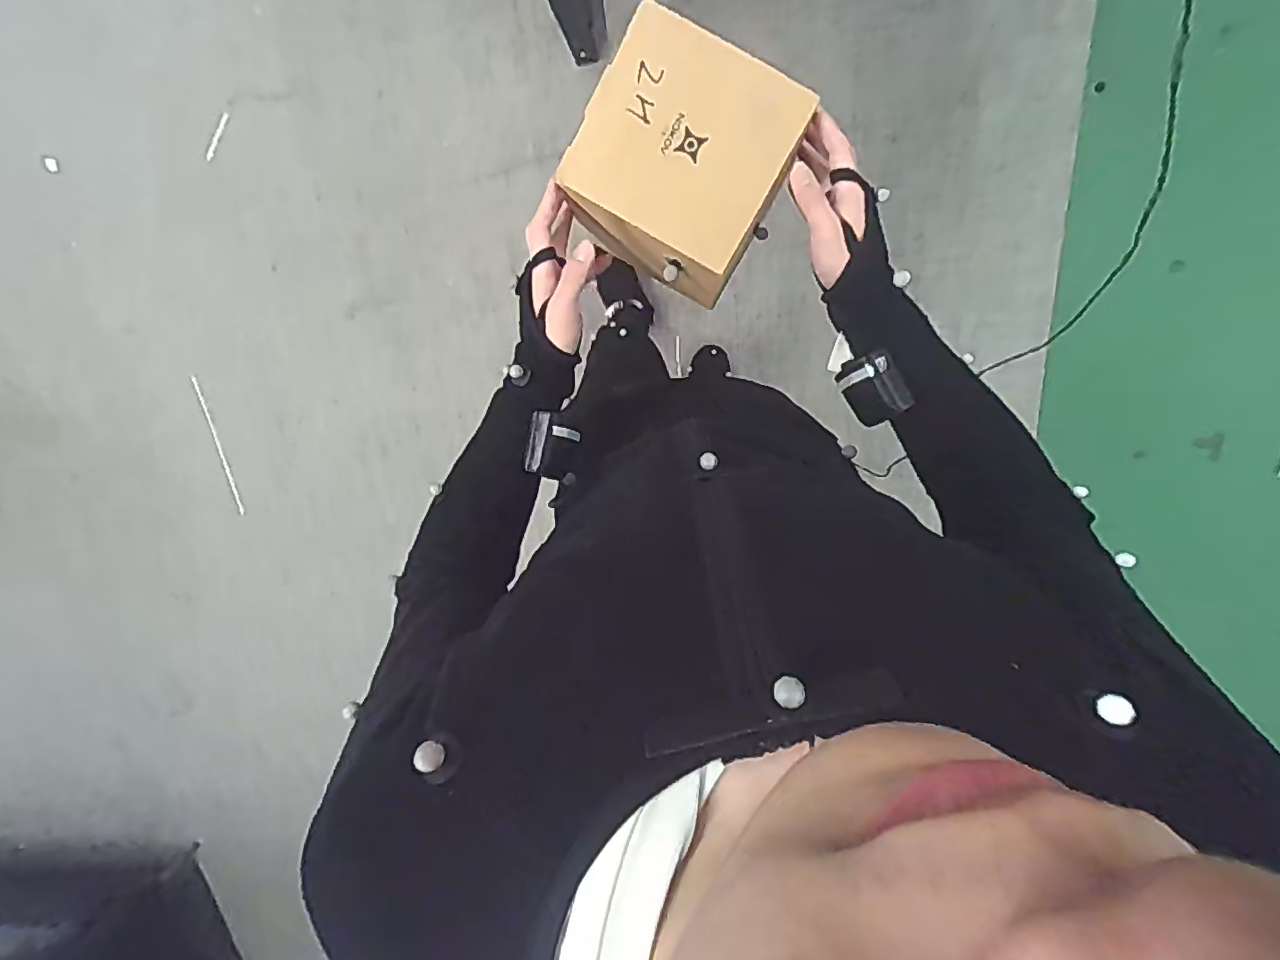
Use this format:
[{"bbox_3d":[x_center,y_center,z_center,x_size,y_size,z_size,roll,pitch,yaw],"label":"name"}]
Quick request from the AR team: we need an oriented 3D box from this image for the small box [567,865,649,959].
[{"bbox_3d":[-0.069,1.035,1.254,0.168,0.176,0.179,1,109,5],"label":"small box"}]
